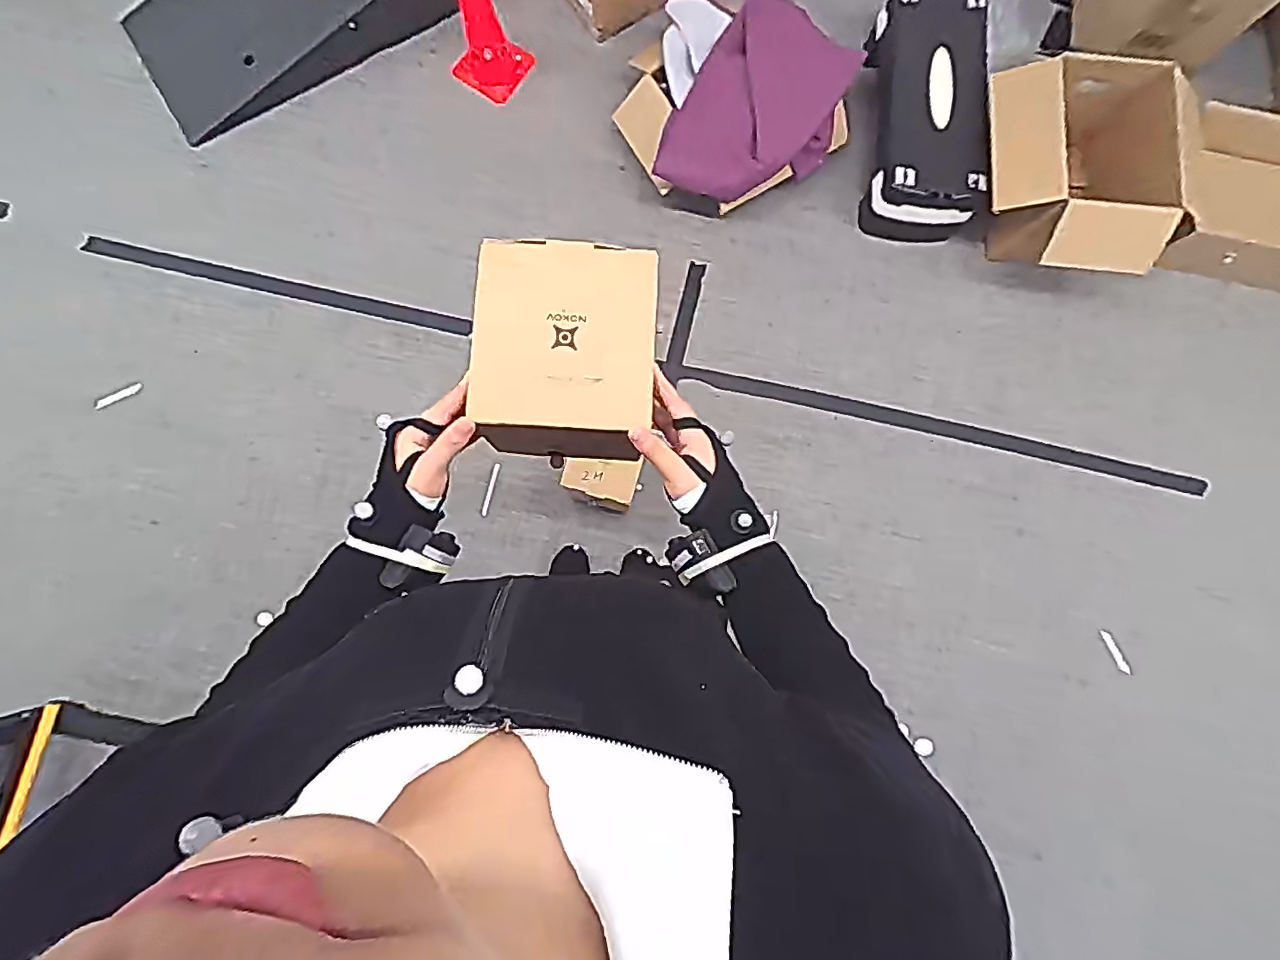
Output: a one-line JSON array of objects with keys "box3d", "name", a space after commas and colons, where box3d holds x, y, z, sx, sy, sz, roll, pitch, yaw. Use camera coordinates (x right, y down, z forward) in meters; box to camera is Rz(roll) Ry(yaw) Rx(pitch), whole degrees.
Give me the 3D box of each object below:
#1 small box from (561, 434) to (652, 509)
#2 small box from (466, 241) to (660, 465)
[{"box3d": [-0.078, -0.039, 1.290, 0.168, 0.176, 0.179, 17, 83, 0], "name": "small box"}, {"box3d": [-0.072, -0.118, 0.565, 0.168, 0.176, 0.179, 3, 83, -3], "name": "small box"}]
